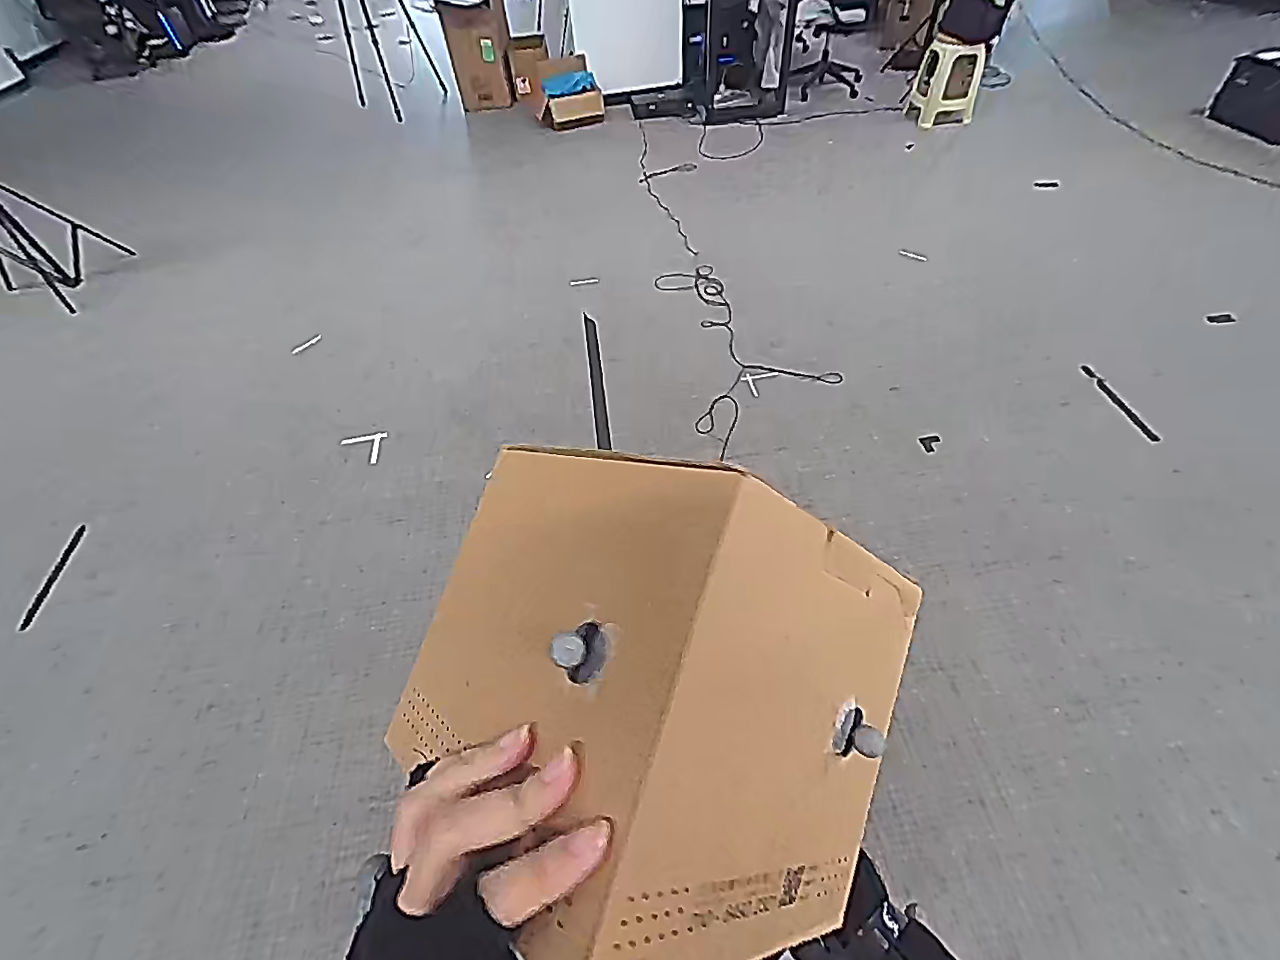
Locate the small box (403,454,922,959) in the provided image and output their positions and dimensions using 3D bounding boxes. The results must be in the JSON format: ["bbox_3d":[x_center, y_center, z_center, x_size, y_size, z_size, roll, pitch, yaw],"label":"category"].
[{"bbox_3d":[0.009,0.099,0.280,0.179,0.168,0.176,8,74,49],"label":"small box"}]
